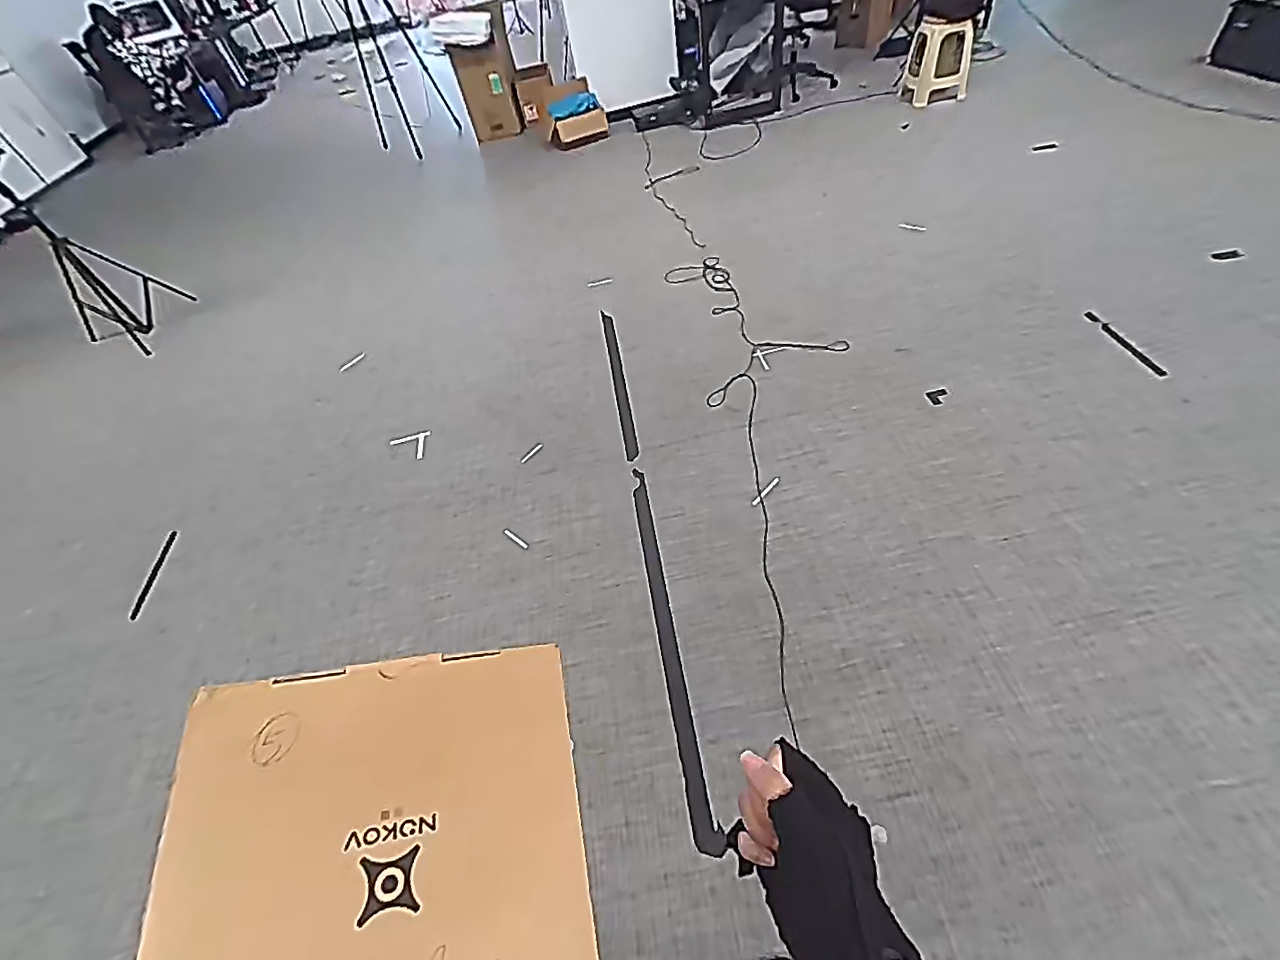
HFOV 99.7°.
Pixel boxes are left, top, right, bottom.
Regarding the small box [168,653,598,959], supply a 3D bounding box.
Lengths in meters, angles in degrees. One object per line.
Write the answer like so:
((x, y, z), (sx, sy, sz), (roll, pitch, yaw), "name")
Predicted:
((-0.128, 0.216, 0.302), (0.168, 0.176, 0.179), (-1, 57, -20), "small box")
